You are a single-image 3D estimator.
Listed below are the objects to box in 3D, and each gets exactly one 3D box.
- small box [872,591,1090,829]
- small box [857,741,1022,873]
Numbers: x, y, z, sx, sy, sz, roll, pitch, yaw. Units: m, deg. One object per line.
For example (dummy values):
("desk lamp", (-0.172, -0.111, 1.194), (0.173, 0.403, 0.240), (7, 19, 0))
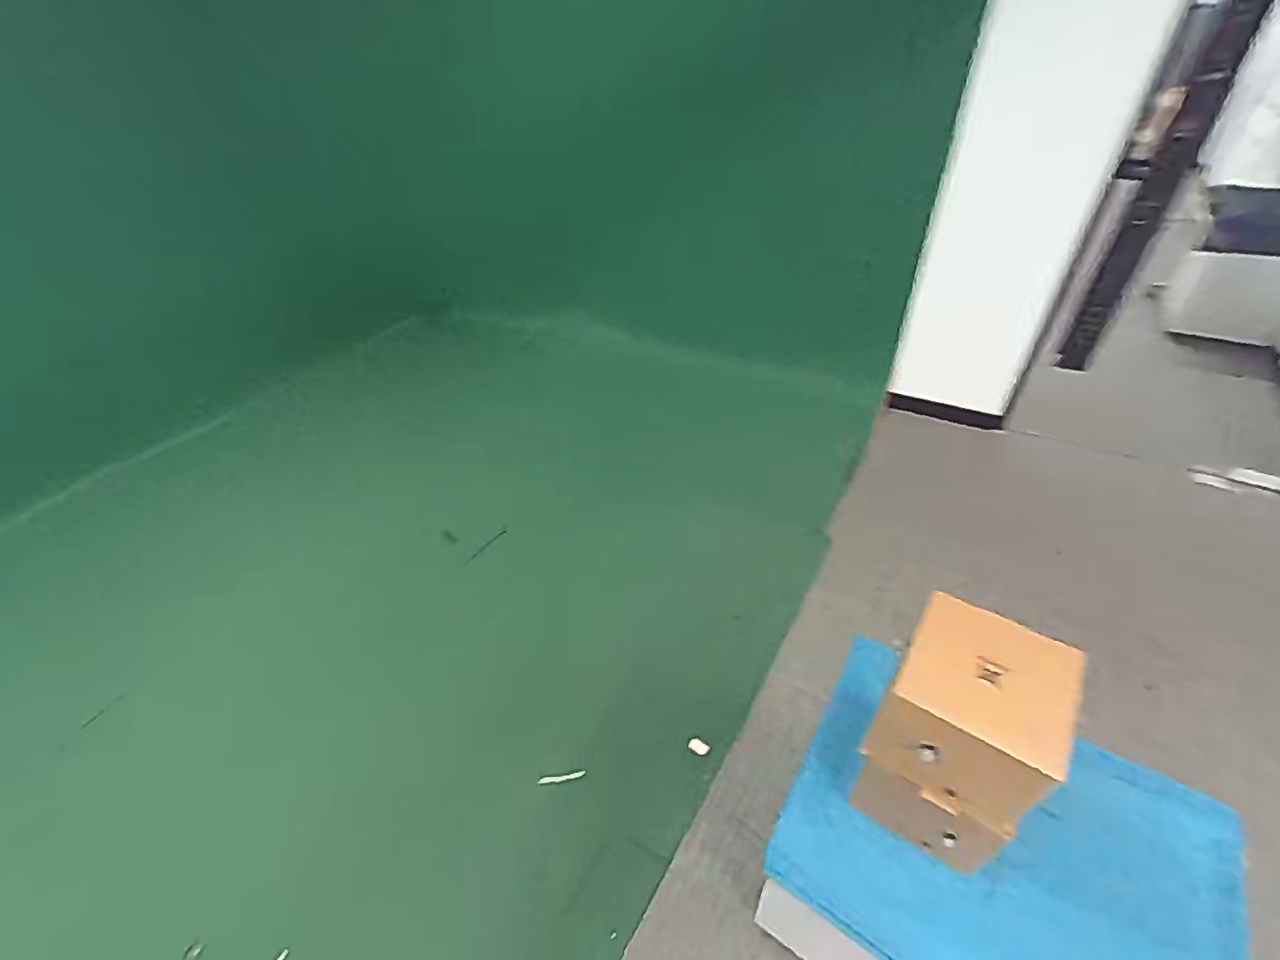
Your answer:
("small box", (0.403, 0.279, 0.661), (0.168, 0.176, 0.179), (25, 48, 29))
("small box", (0.423, 0.404, 0.762), (0.168, 0.176, 0.179), (24, 48, 28))
